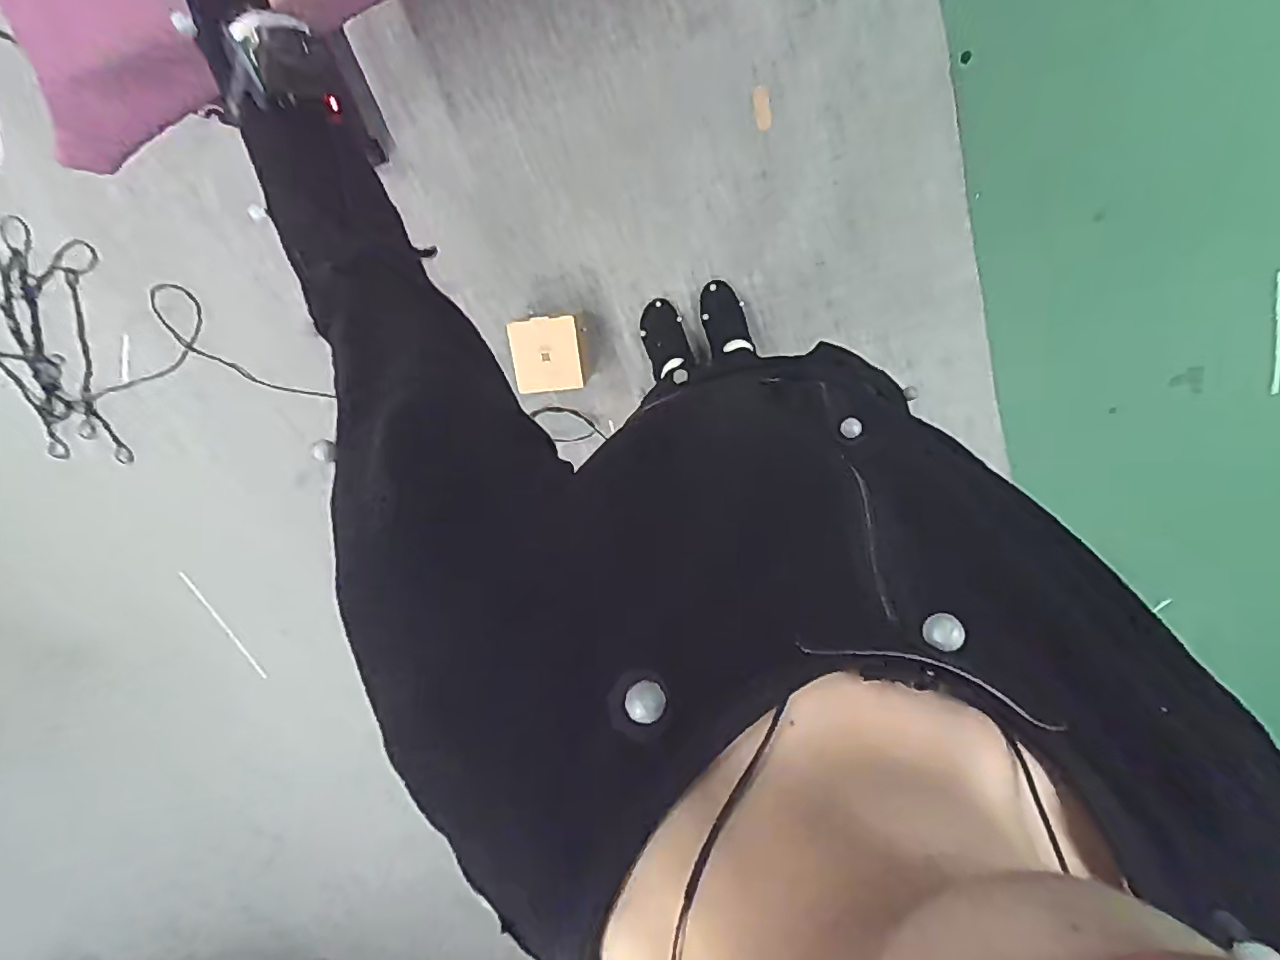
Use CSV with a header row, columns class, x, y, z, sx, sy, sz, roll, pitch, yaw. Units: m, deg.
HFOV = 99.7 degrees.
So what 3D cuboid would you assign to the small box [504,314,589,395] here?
class,x,y,z,sx,sy,sz,roll,pitch,yaw
small box,-0.228,-0.322,1.364,0.168,0.176,0.179,-4,112,5
